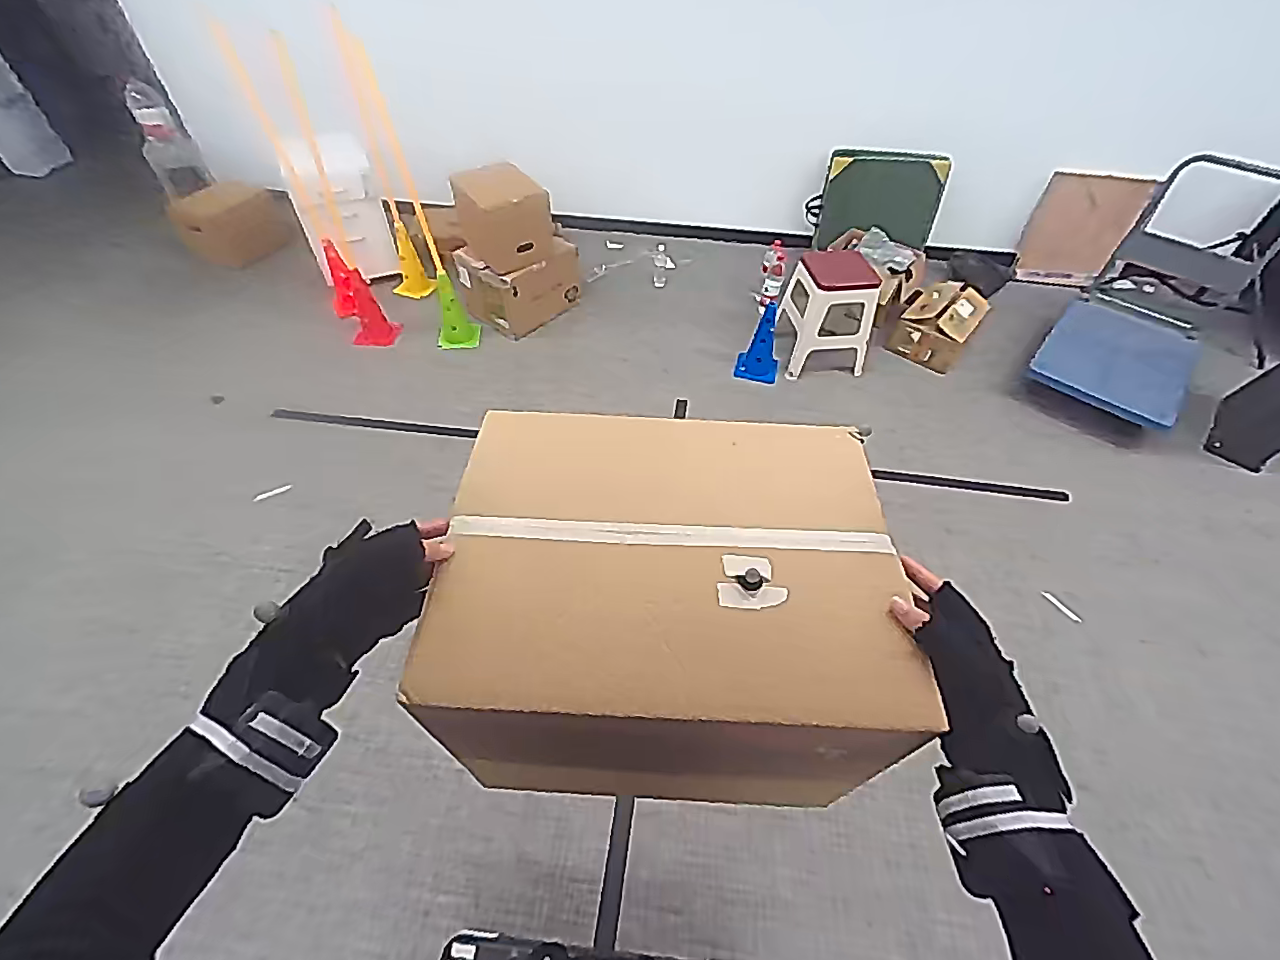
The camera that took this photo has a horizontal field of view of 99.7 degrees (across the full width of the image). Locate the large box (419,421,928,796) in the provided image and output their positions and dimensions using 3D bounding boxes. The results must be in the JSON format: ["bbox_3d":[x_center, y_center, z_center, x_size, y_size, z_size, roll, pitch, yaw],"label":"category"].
[{"bbox_3d":[0.025,0.154,0.622,0.408,0.320,0.320,4,51,0],"label":"large box"}]

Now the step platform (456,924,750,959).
[{"bbox_3d":[-0.069,1.130,1.105,0.684,0.204,0.286,6,50,2],"label":"step platform"}]
